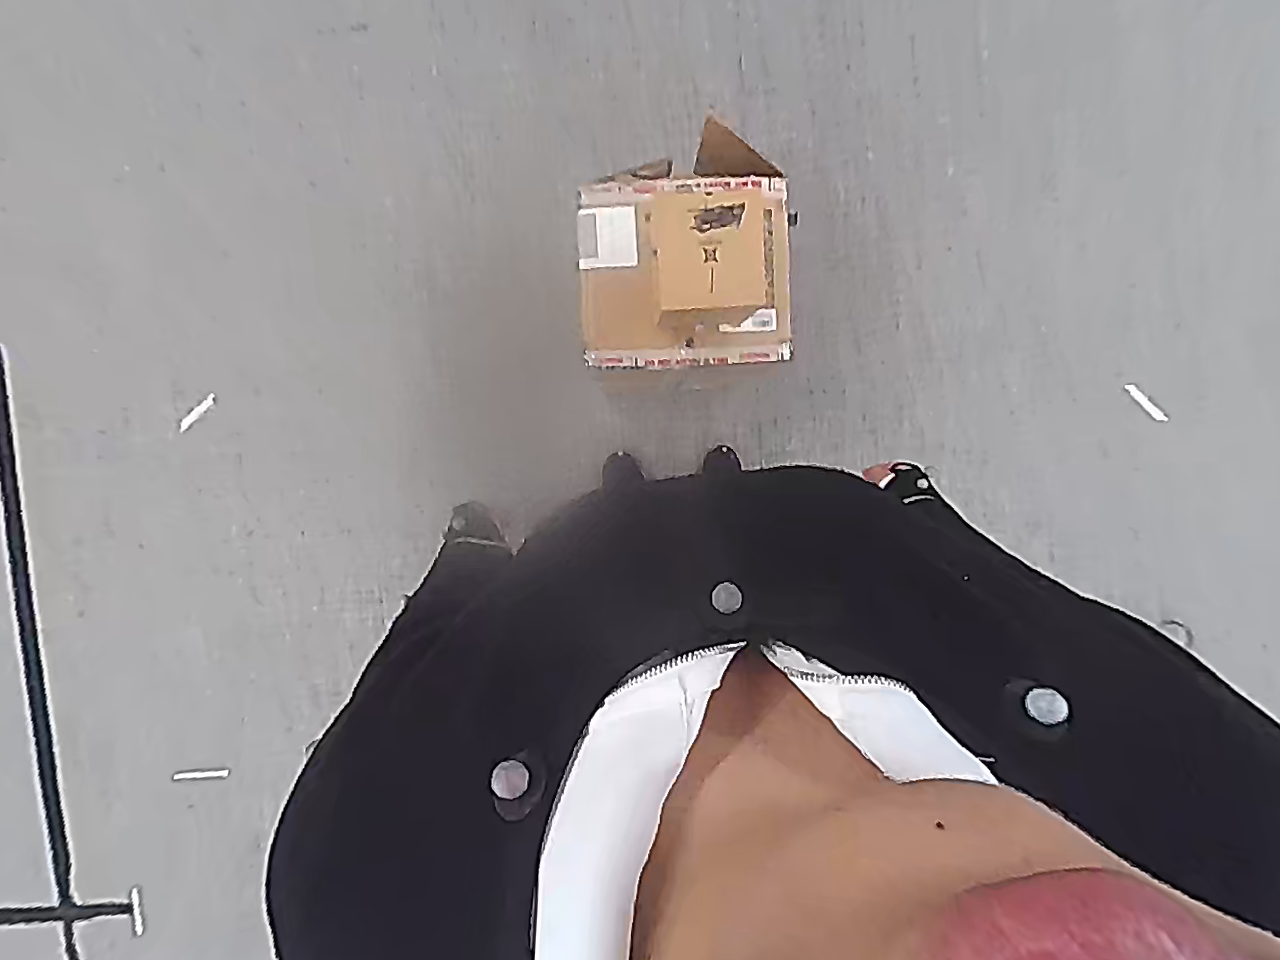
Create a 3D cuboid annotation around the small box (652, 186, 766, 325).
[{"bbox_3d":[0.109,-0.366,0.908,0.168,0.176,0.179,-3,97,-1],"label":"small box"}]
